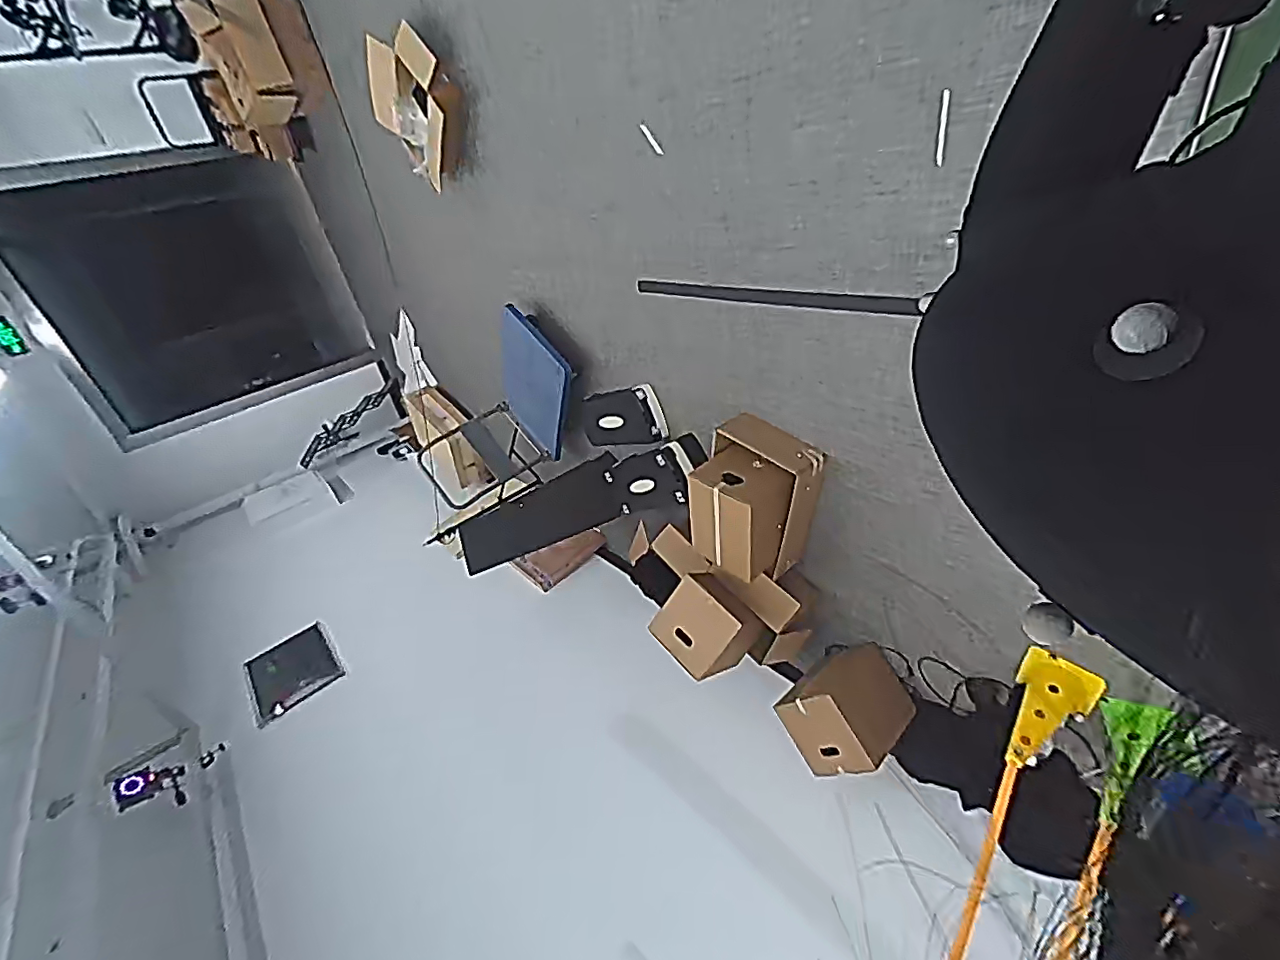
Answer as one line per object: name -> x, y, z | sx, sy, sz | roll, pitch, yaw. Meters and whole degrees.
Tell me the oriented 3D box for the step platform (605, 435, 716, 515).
step platform -> 0.077, -0.008, 2.758 | 0.684, 0.204, 0.286 | -18, 102, 59
